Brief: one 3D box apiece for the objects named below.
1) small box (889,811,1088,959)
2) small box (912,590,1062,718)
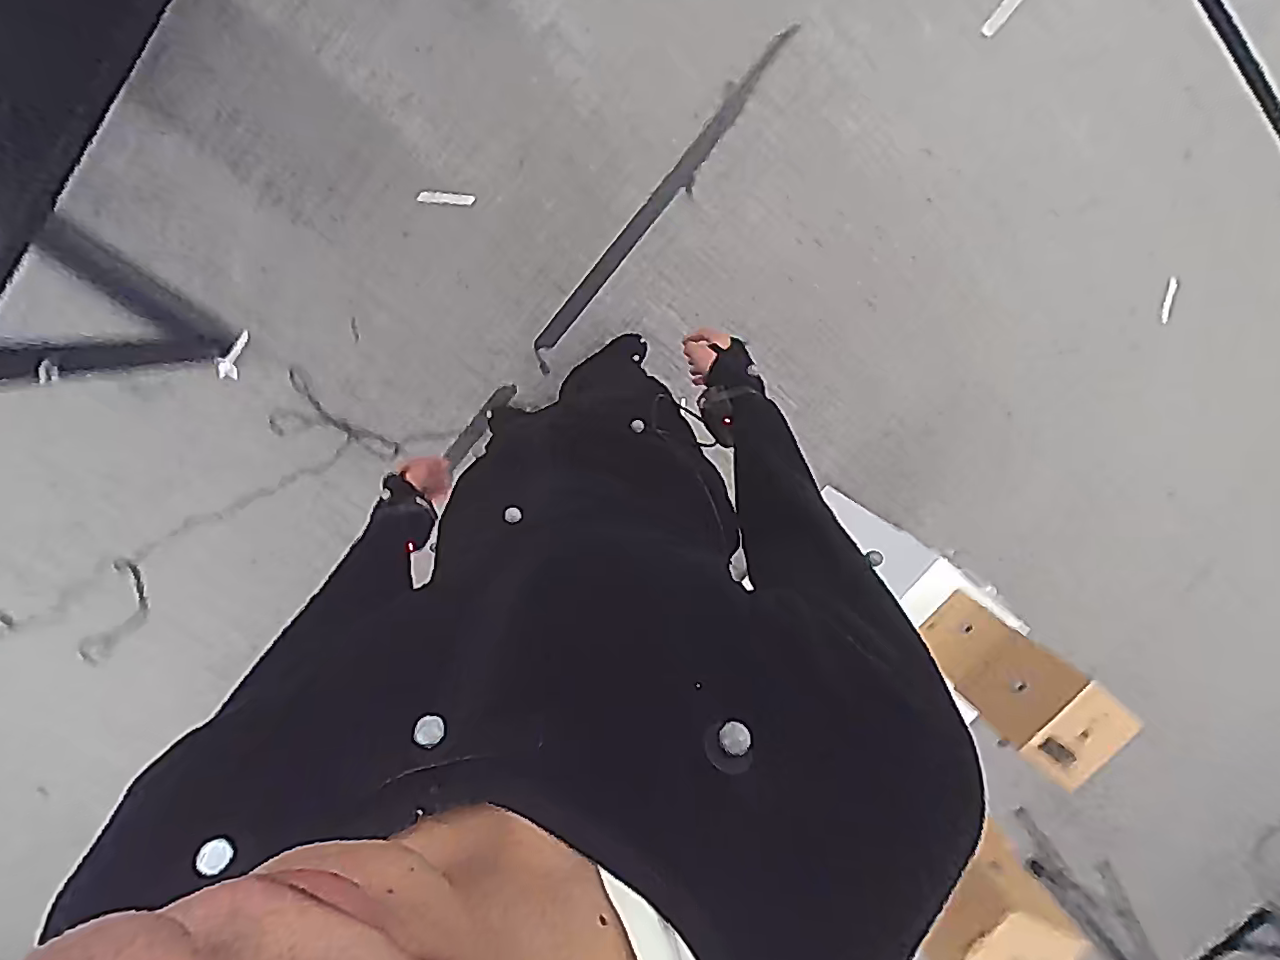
[{"bbox_3d":[0.553,0.687,0.884,0.179,0.176,0.168,30,101,-15],"label":"small box"},{"bbox_3d":[0.730,0.360,1.158,0.179,0.176,0.168,37,99,-16],"label":"small box"}]
